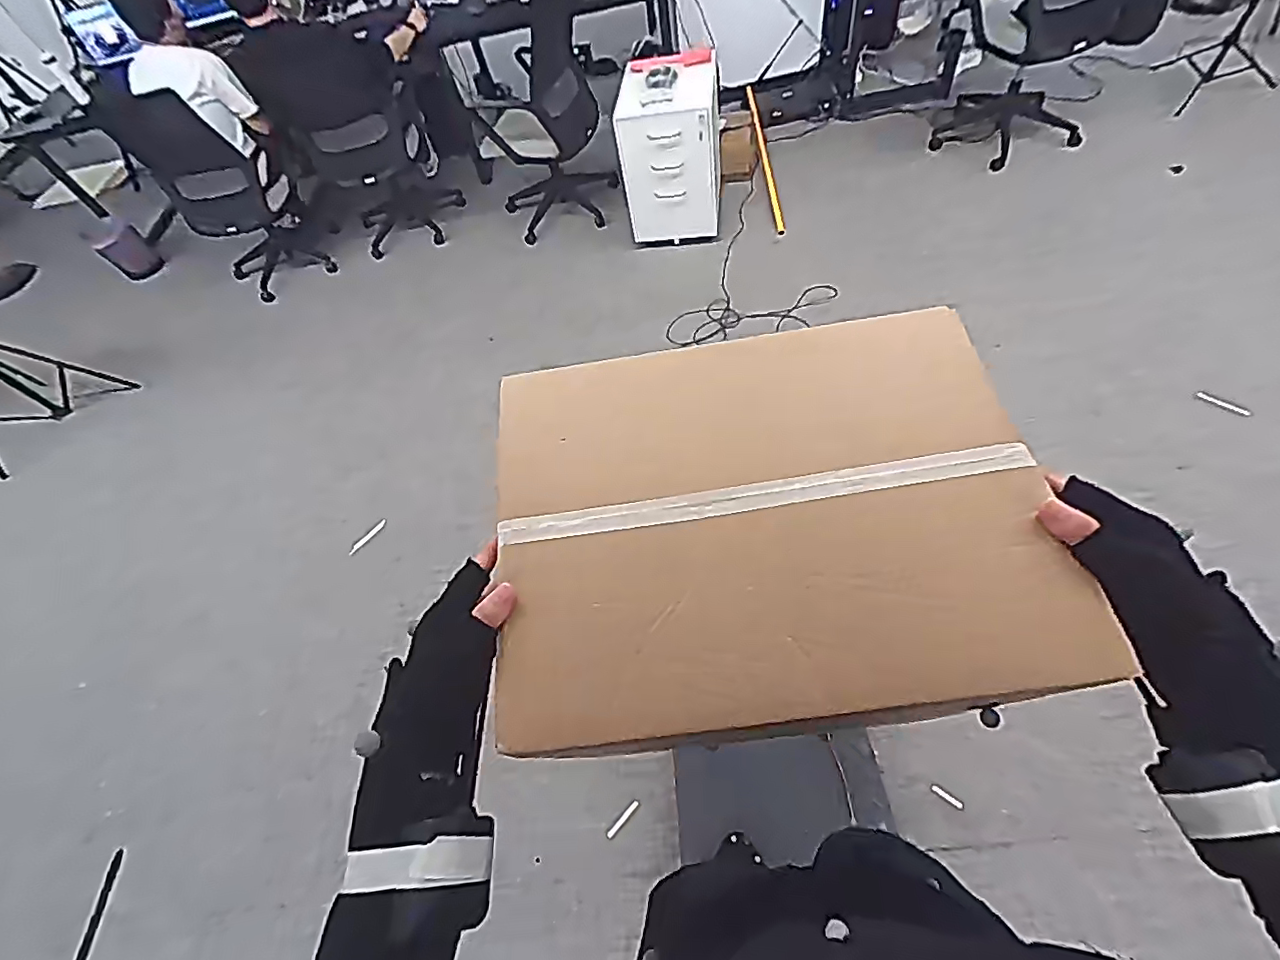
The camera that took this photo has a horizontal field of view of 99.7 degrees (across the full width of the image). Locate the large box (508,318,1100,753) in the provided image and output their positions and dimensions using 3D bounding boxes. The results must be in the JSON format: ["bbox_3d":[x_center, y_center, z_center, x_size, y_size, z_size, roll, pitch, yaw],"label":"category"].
[{"bbox_3d":[0.109,0.085,0.560,0.408,0.320,0.320,-9,62,4],"label":"large box"}]
